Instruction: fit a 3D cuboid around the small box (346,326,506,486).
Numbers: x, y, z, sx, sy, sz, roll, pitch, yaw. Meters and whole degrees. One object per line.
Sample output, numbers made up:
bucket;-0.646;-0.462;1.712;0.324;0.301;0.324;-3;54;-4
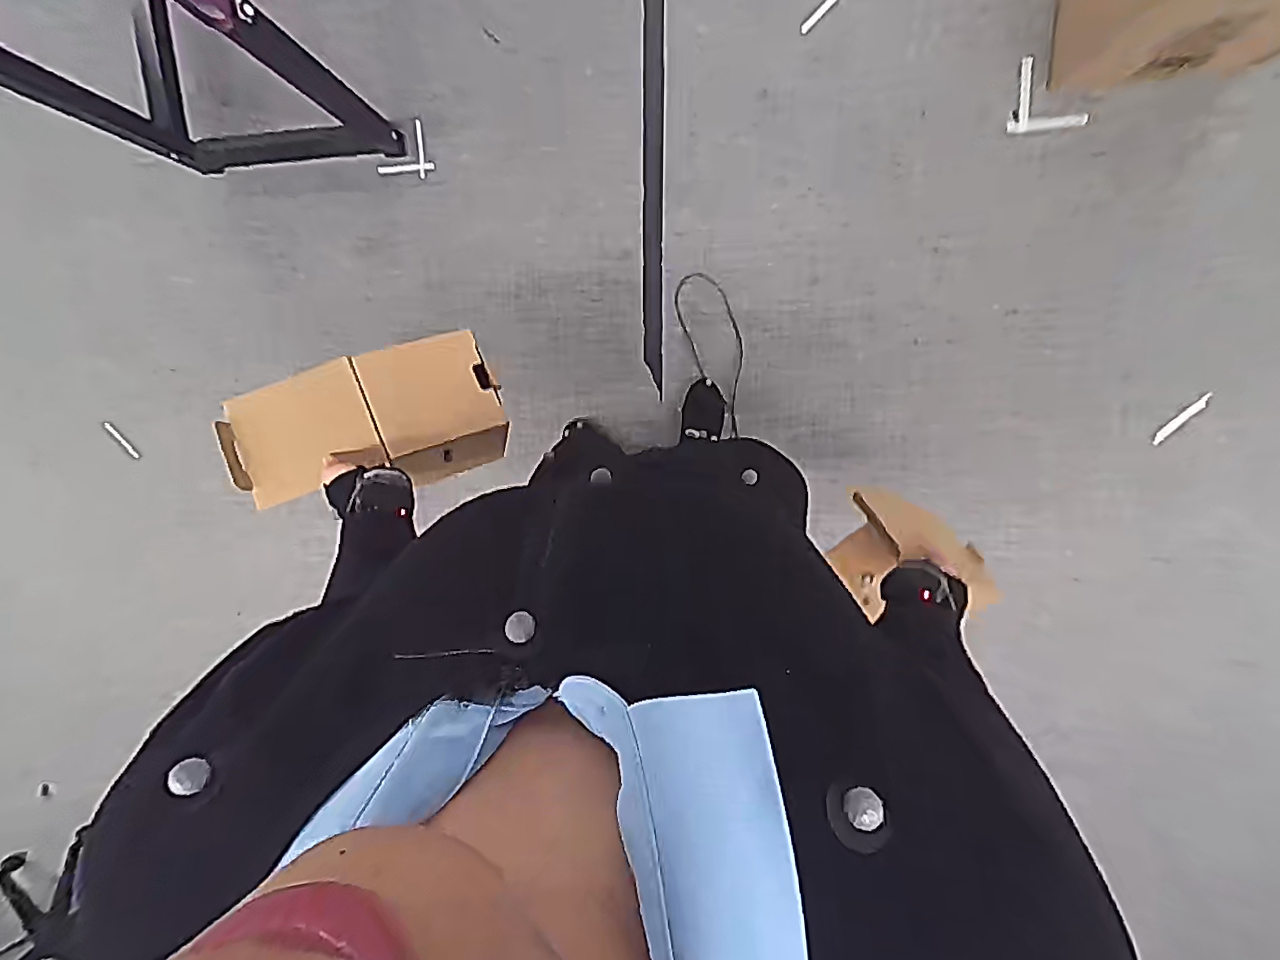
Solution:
small box;-0.321;-0.106;0.836;0.179;0.176;0.168;-21;82;-22
